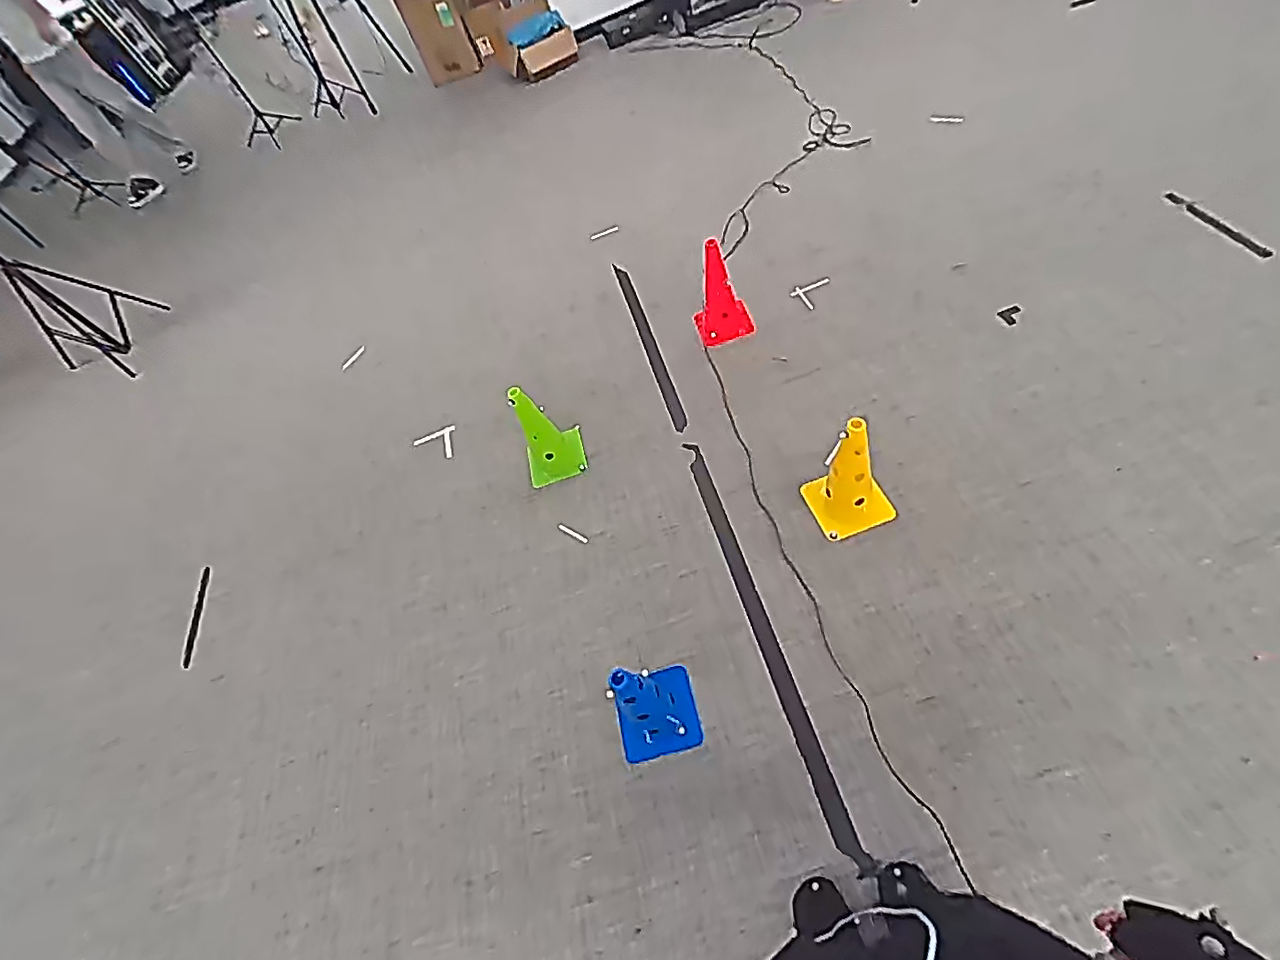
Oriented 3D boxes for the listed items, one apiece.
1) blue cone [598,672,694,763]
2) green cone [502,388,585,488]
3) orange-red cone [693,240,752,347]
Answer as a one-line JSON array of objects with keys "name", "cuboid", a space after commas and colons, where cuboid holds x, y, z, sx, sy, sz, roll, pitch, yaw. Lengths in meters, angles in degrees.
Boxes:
[{"name": "blue cone", "cuboid": [-0.010, 0.504, 1.226, 0.192, 0.380, 0.193, -17, 54, 6]}, {"name": "green cone", "cuboid": [-0.342, -0.170, 1.756, 0.202, 0.368, 0.200, -21, 54, 4]}, {"name": "orange-red cone", "cuboid": [0.272, -0.682, 1.915, 0.199, 0.360, 0.198, -16, 56, 5]}]
